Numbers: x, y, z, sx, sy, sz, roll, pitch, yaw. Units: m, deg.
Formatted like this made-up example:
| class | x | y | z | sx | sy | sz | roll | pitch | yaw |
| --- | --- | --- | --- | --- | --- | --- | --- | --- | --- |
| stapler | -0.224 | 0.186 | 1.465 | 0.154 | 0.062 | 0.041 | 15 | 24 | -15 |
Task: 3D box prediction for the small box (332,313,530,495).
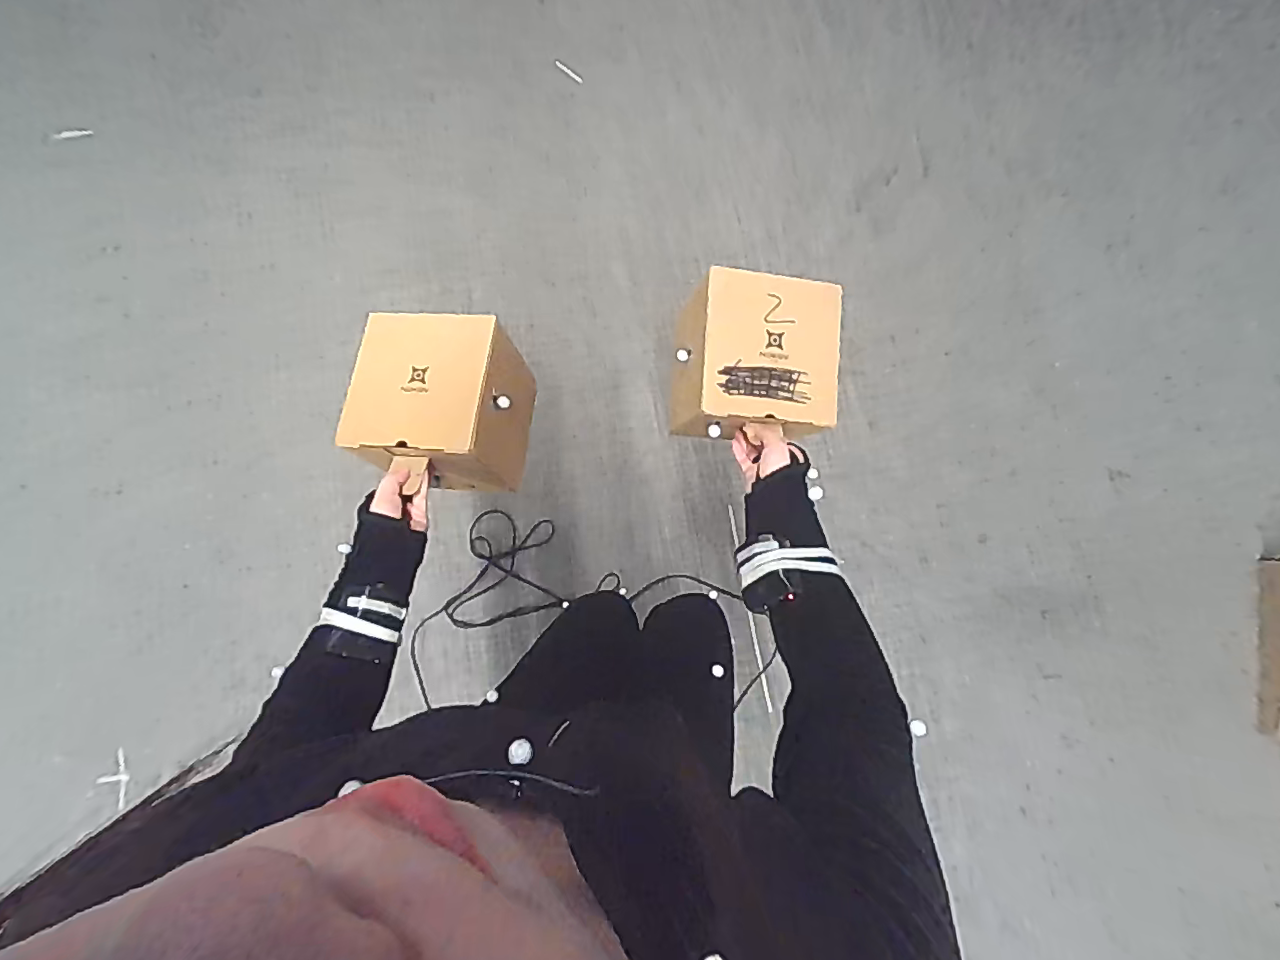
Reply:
| class | x | y | z | sx | sy | sz | roll | pitch | yaw |
| --- | --- | --- | --- | --- | --- | --- | --- | --- | --- |
| small box | -0.252 | -0.091 | 0.702 | 0.168 | 0.176 | 0.179 | 4 | 74 | 8 |
